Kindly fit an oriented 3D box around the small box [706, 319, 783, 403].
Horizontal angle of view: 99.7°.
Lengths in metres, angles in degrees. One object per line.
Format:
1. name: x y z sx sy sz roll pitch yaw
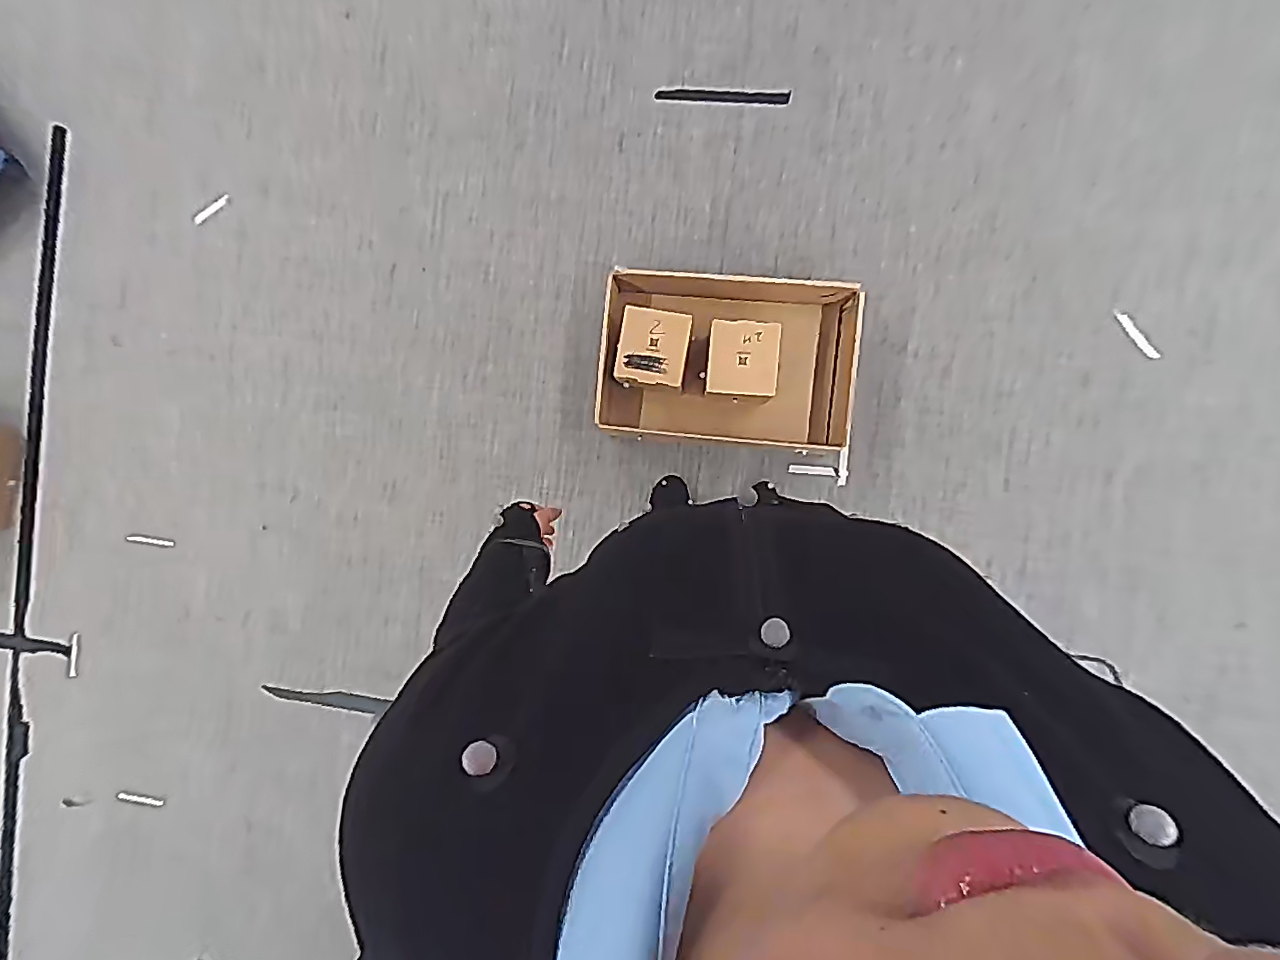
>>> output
1. small box: 0.256 -0.291 1.357 0.168 0.176 0.179 5 92 5
